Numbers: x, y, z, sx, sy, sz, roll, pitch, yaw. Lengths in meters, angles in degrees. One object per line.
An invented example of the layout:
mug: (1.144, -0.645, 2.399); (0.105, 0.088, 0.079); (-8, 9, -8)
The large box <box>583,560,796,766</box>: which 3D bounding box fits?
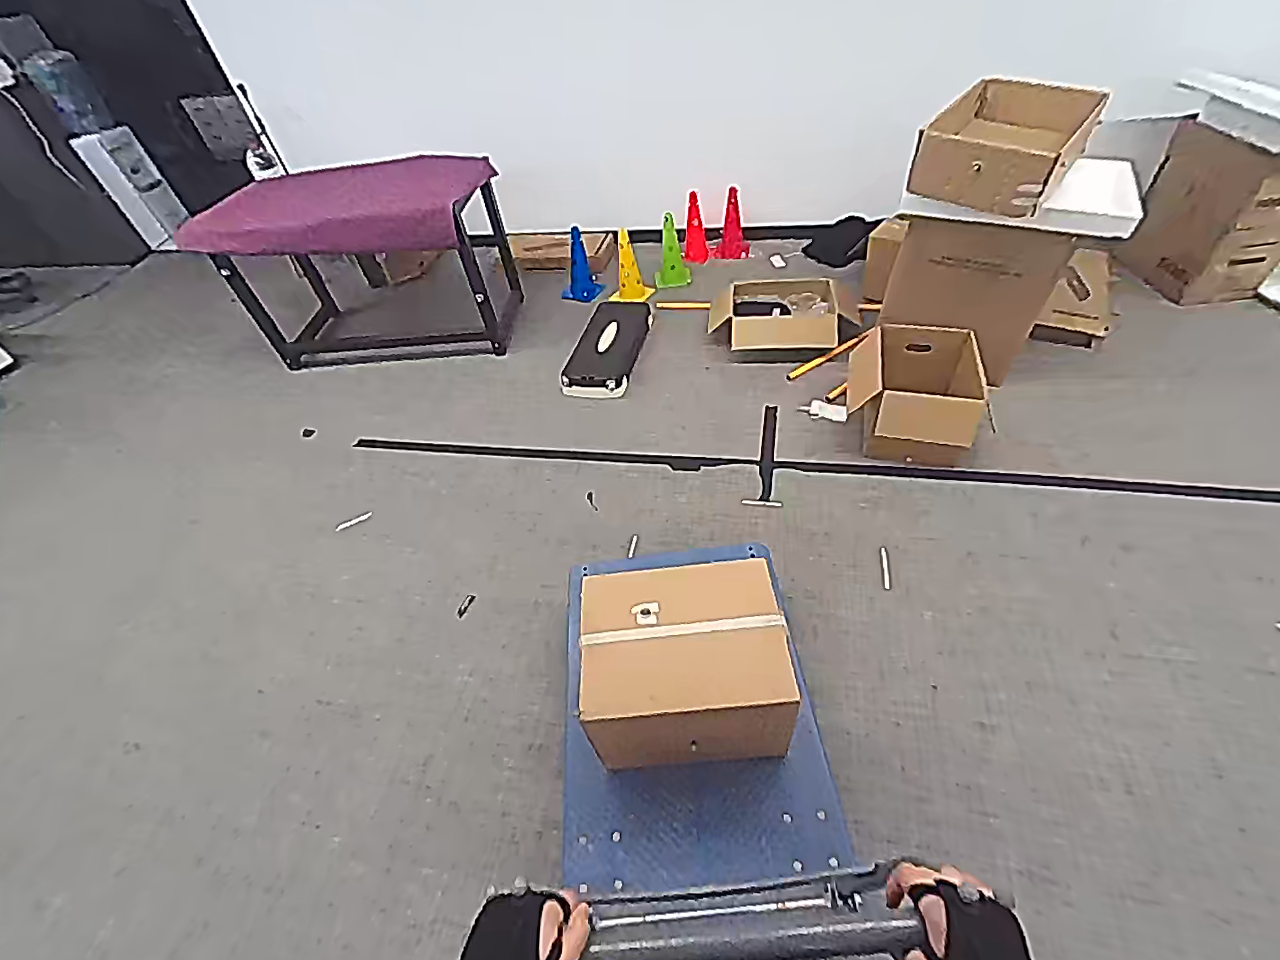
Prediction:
large box: (0.102, 0.415, 1.209); (0.408, 0.320, 0.320); (-8, 46, 3)
